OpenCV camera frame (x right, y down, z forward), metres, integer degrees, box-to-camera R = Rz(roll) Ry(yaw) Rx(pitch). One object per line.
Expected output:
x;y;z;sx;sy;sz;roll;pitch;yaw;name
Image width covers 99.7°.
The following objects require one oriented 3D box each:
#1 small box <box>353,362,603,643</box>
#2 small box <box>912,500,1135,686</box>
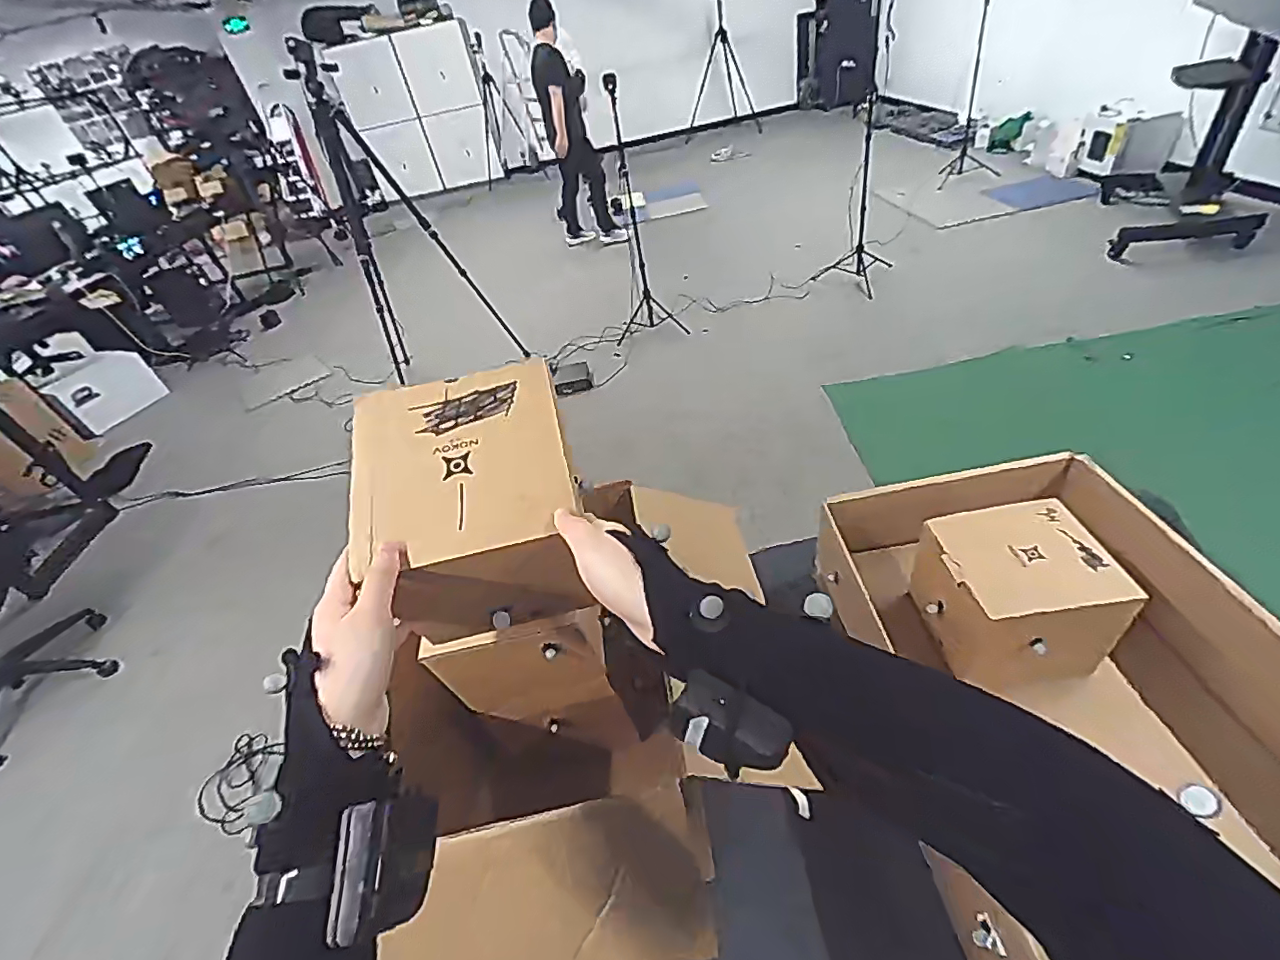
-0.134;0.026;0.486;0.168;0.176;0.179;-13;60;-6;small box
0.485;0.155;0.723;0.179;0.176;0.168;-11;42;5;small box
